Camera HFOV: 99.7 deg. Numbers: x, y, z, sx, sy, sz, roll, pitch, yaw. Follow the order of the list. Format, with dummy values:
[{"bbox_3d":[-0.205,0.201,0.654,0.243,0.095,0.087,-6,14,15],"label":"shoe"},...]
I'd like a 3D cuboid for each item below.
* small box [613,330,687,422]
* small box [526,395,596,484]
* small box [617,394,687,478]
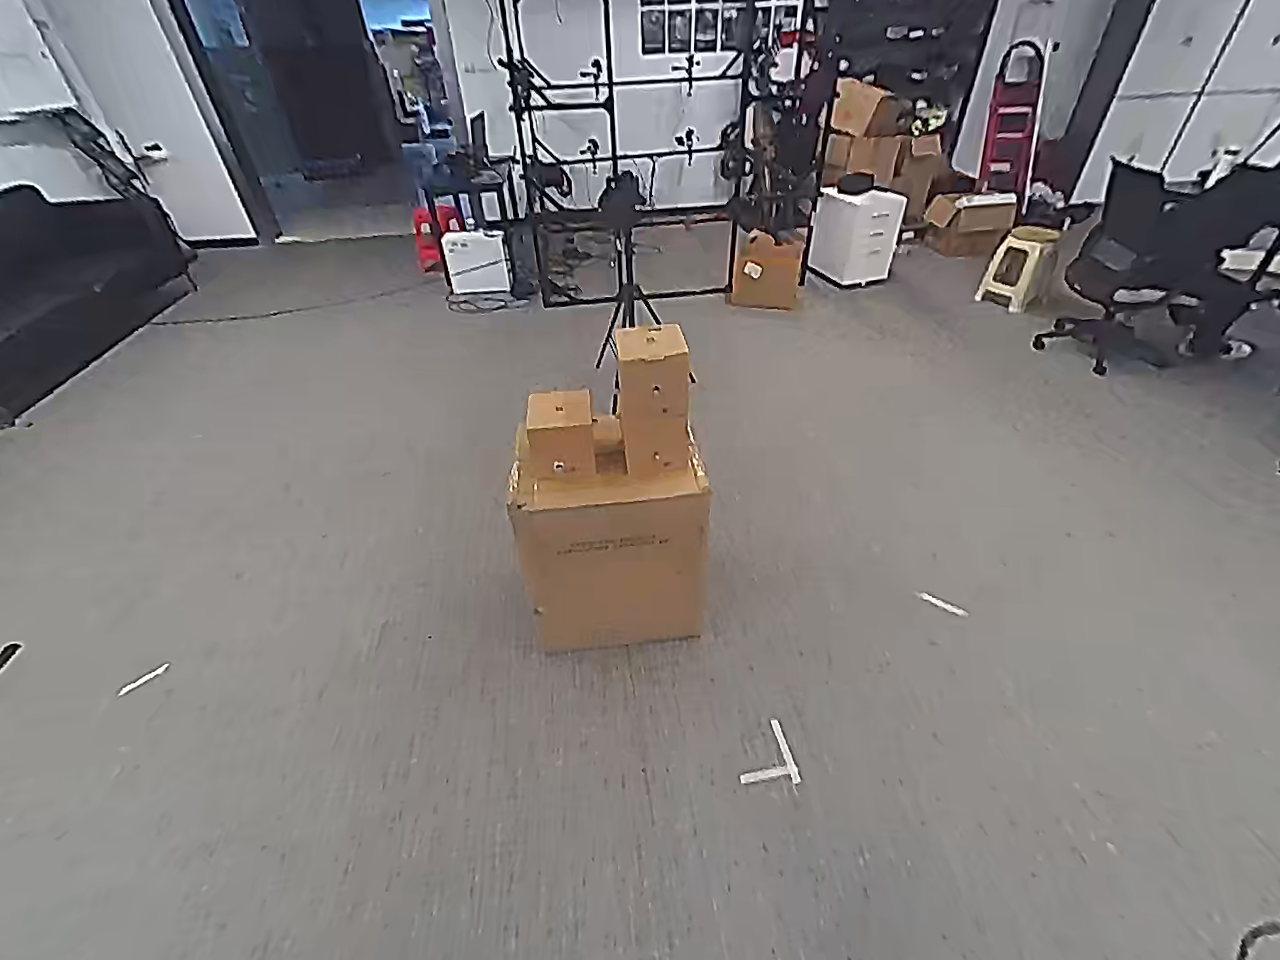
[{"bbox_3d":[0.026,-0.258,1.365,0.168,0.176,0.179,-6,39,-2],"label":"small box"},{"bbox_3d":[-0.209,-0.110,1.458,0.168,0.176,0.179,-6,40,-4],"label":"small box"},{"bbox_3d":[0.030,-0.128,1.465,0.168,0.176,0.179,-7,39,-3],"label":"small box"}]
